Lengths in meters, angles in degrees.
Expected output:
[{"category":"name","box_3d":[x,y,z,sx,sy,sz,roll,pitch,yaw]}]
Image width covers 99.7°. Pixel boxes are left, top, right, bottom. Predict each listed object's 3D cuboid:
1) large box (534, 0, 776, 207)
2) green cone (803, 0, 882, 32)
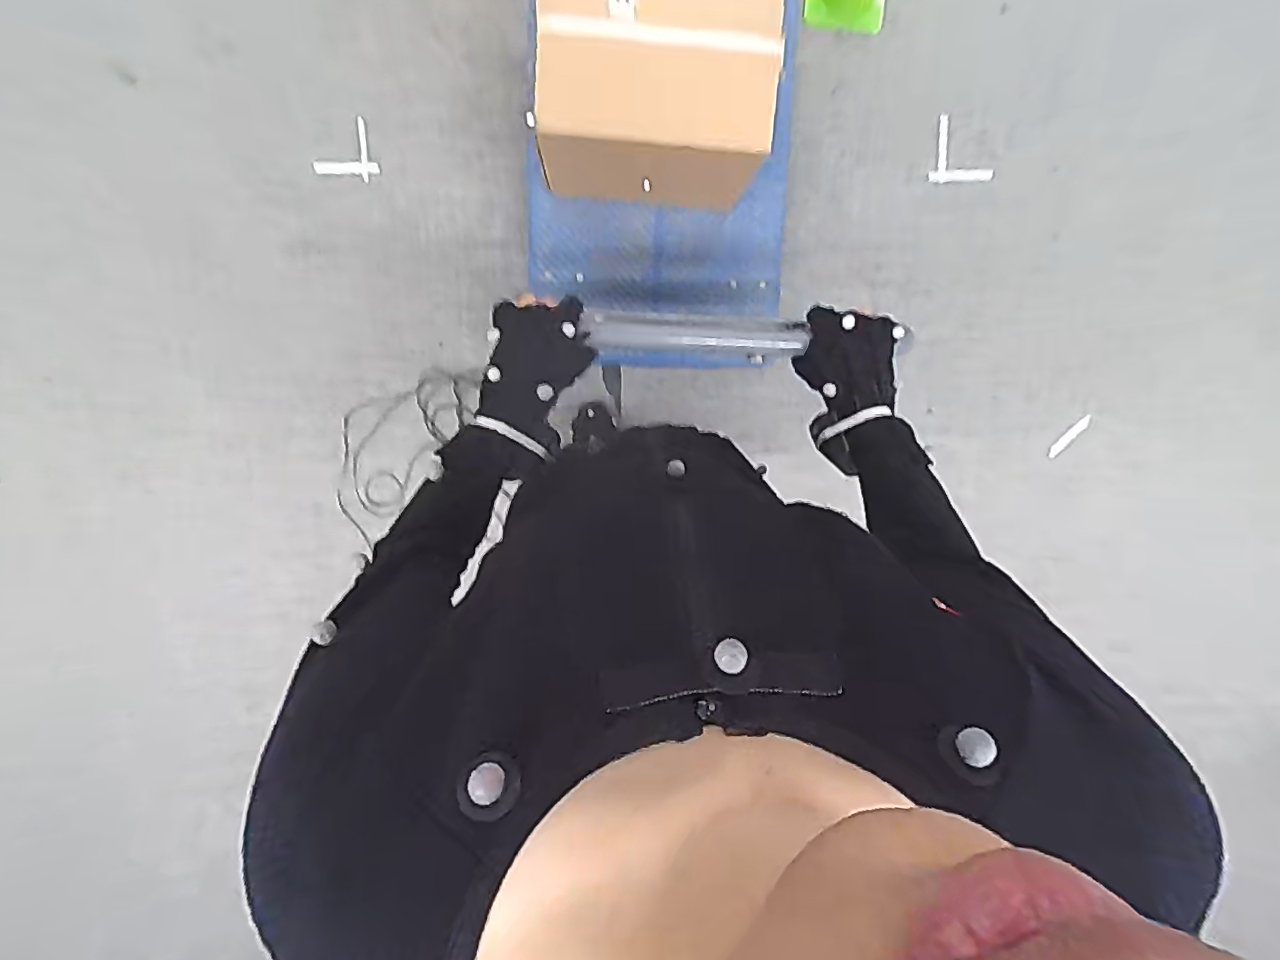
[{"category":"large box","box_3d":[0.019,-0.748,1.049,0.408,0.320,0.320,3,99,-3]},{"category":"green cone","box_3d":[0.519,-1.198,1.162,0.202,0.368,0.200,3,98,-6]}]
